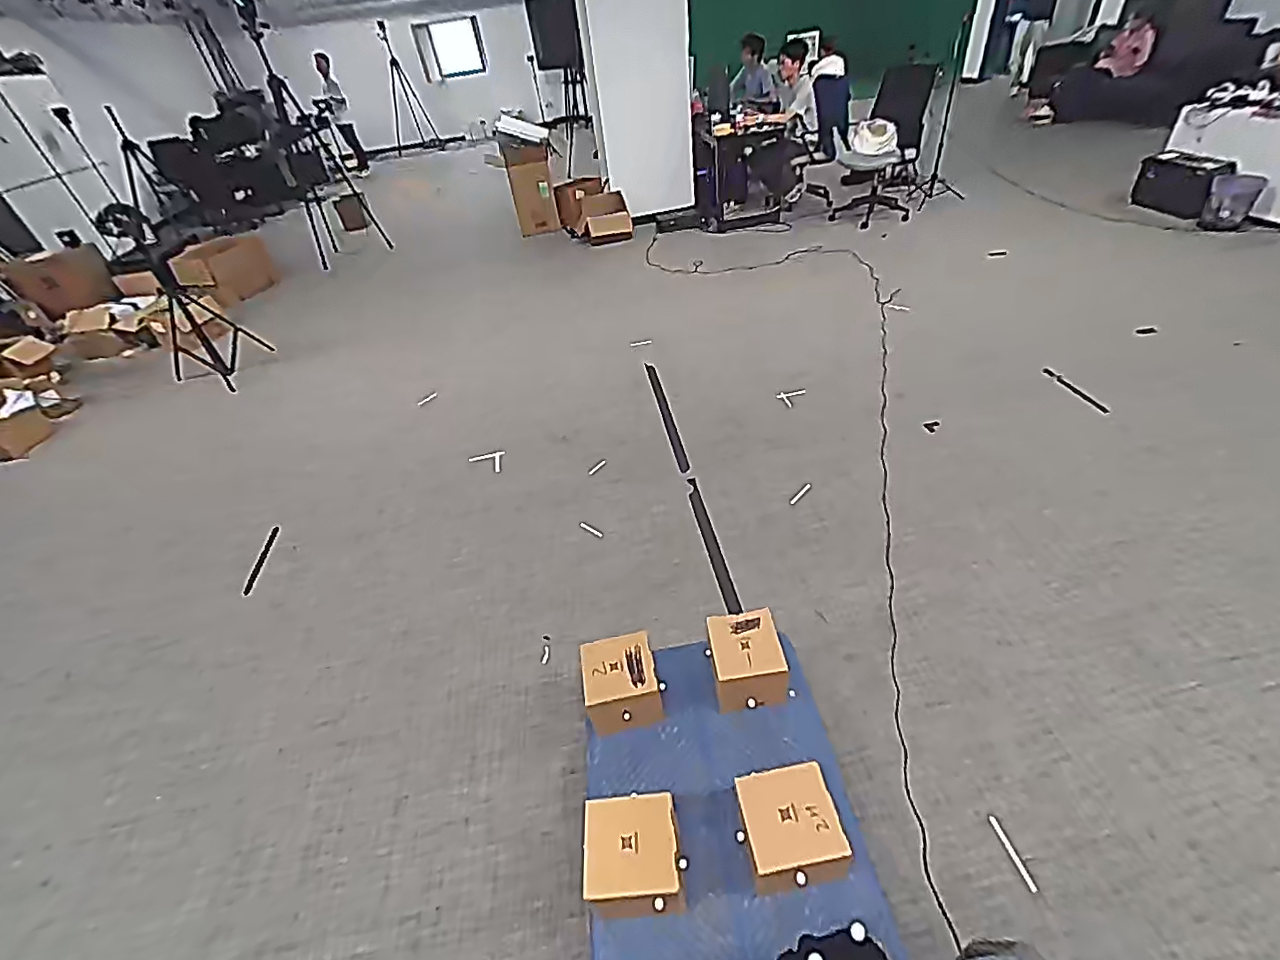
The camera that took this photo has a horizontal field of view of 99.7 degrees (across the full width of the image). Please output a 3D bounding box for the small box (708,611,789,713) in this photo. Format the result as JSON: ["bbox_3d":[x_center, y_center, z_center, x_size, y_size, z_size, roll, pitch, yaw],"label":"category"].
[{"bbox_3d":[0.267,0.459,1.367,0.168,0.176,0.179,-9,41,1],"label":"small box"}]

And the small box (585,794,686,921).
[{"bbox_3d":[-0.008,0.753,1.077,0.179,0.176,0.168,-7,40,1],"label":"small box"}]

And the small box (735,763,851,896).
[{"bbox_3d":[0.297,0.700,1.079,0.179,0.176,0.168,-11,40,-1],"label":"small box"}]
